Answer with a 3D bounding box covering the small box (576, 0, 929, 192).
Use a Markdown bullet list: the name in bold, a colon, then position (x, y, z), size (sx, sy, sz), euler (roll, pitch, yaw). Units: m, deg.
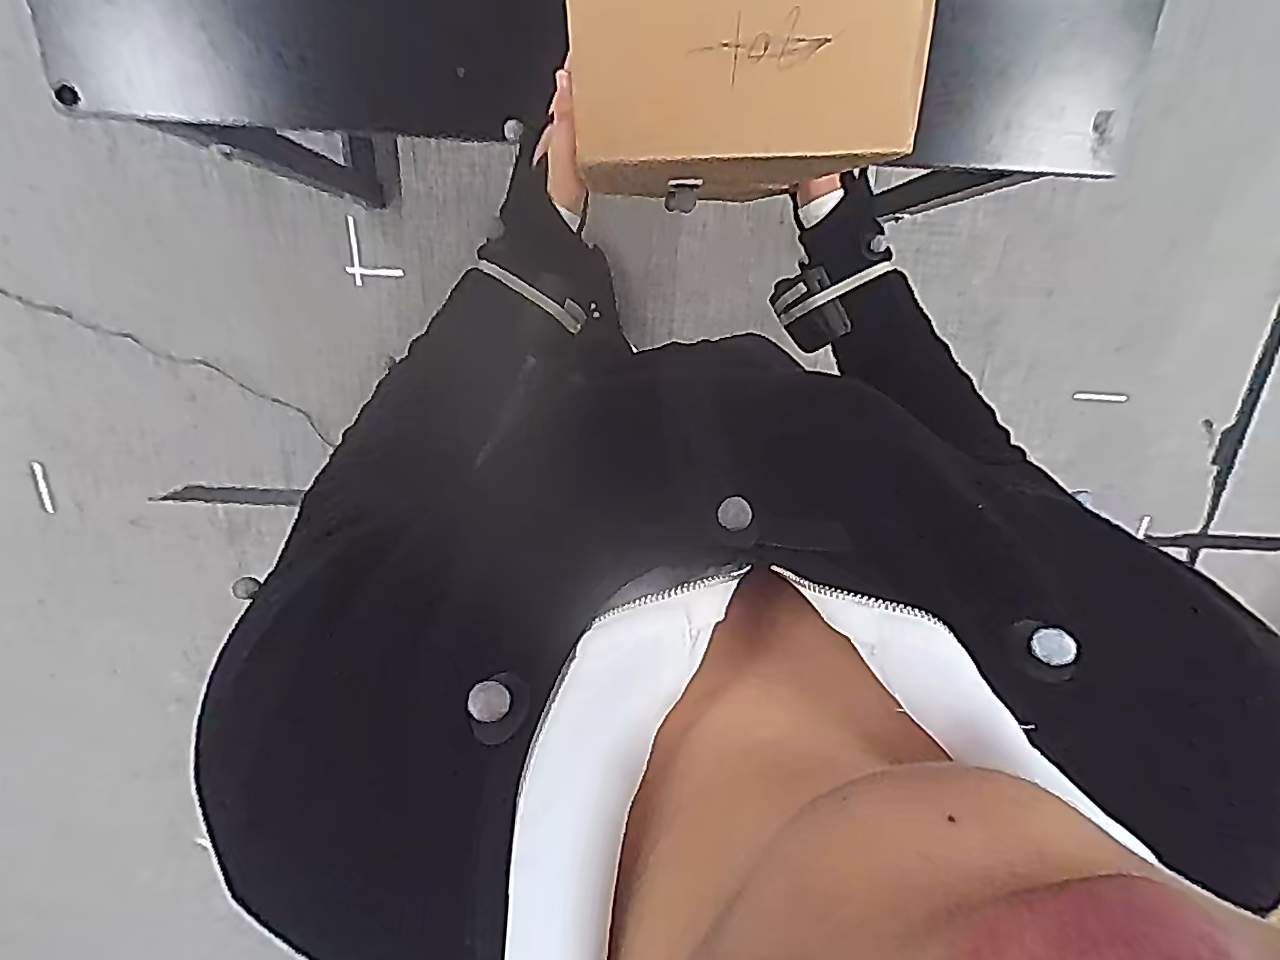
- **small box**: position (0.047, -0.272, 0.310), size (0.168, 0.176, 0.179), euler (-3, 115, -2)
